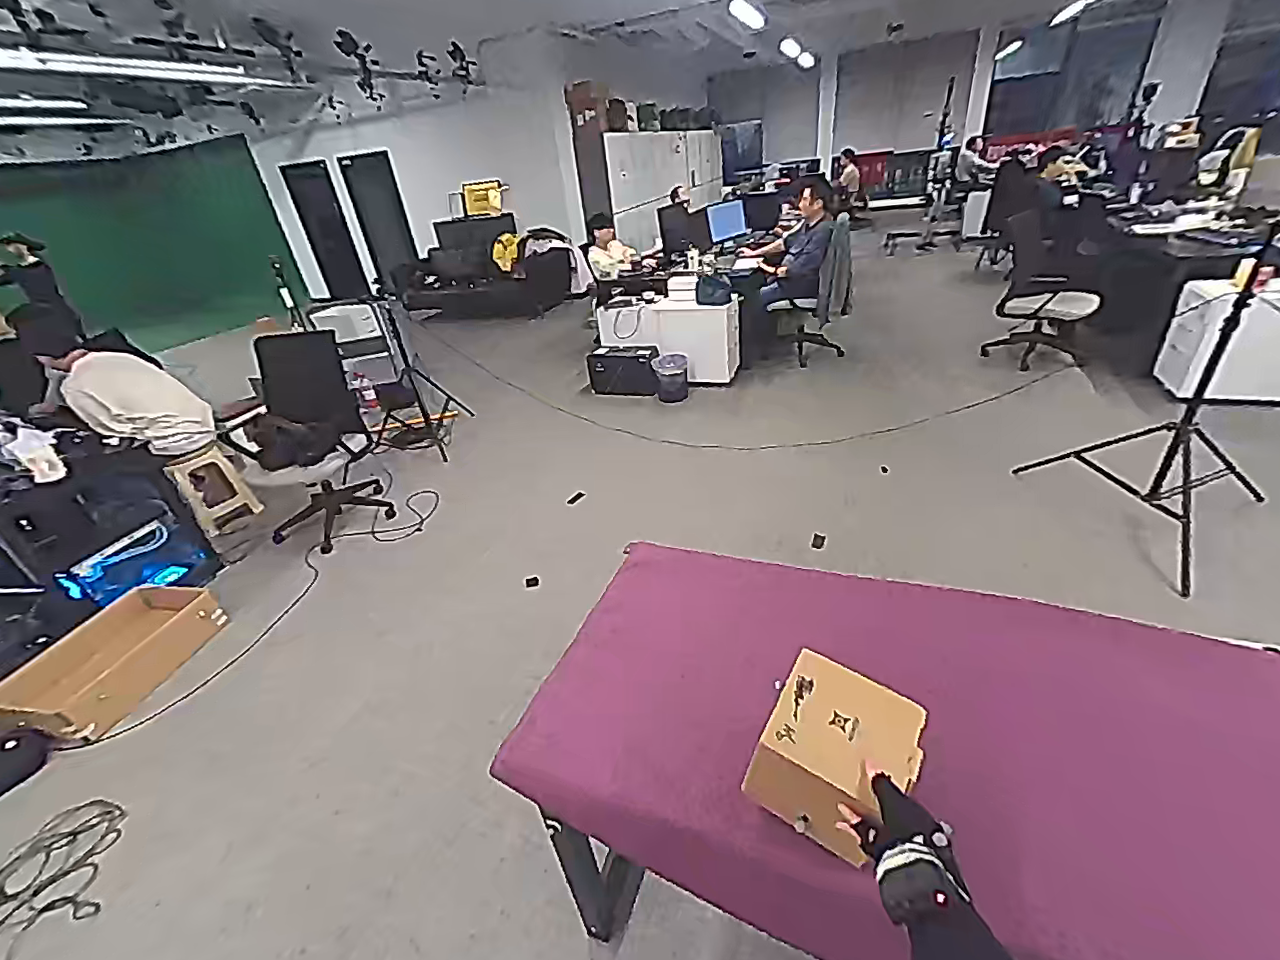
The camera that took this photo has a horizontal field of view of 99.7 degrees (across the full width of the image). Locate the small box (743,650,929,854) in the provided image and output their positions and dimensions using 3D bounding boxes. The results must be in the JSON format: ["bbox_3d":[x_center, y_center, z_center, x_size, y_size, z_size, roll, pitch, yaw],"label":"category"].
[{"bbox_3d":[0.265,0.380,0.752,0.179,0.176,0.168,25,45,23],"label":"small box"}]
